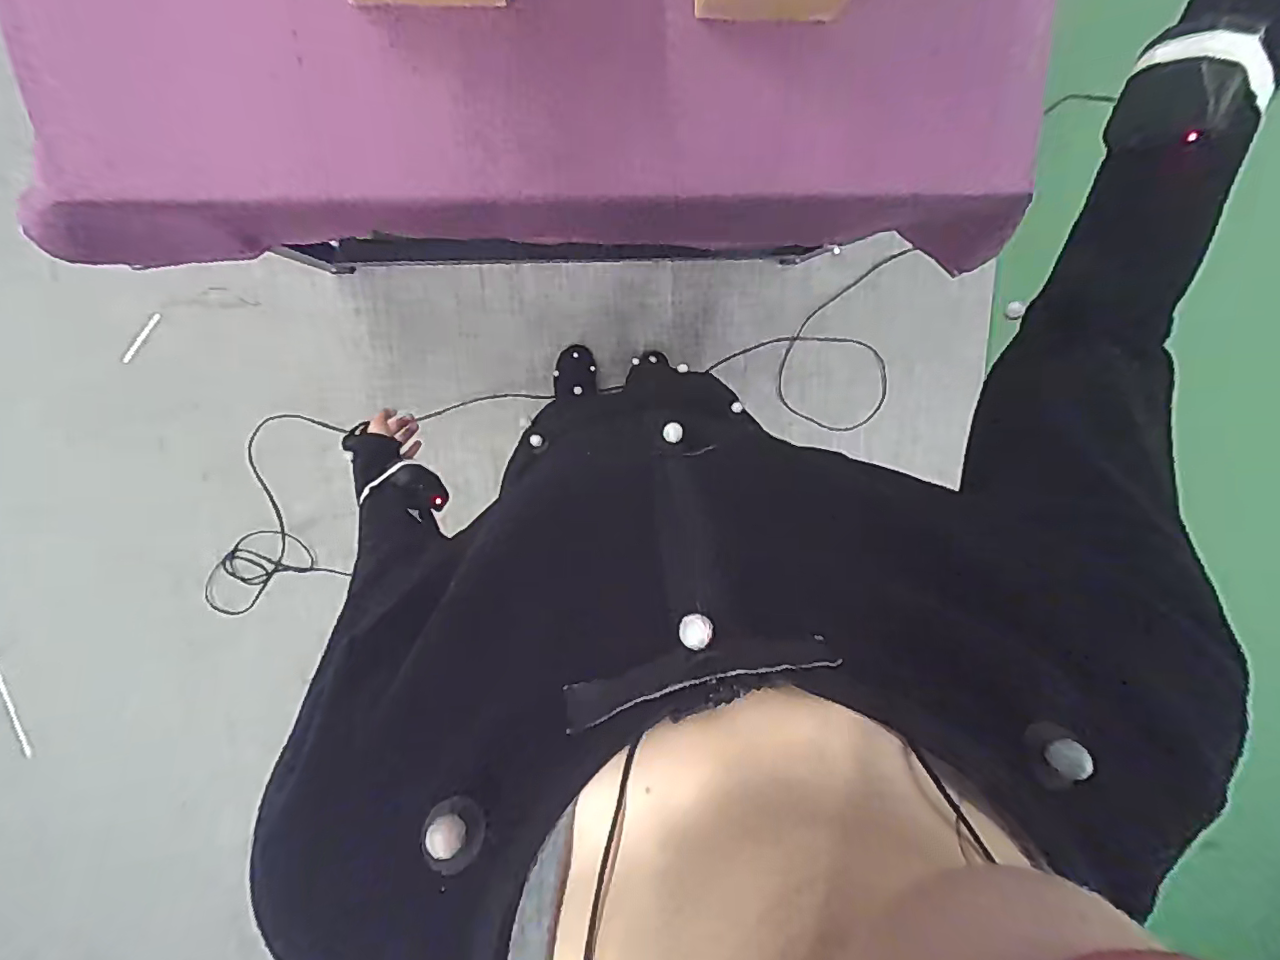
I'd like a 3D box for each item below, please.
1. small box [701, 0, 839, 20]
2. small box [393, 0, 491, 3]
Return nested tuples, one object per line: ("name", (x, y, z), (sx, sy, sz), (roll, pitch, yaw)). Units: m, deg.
("small box", (0.162, -0.619, 0.560), (0.179, 0.176, 0.168), (-4, 104, -8))
("small box", (-0.227, -0.595, 0.509), (0.179, 0.176, 0.168), (-6, 104, -8))
